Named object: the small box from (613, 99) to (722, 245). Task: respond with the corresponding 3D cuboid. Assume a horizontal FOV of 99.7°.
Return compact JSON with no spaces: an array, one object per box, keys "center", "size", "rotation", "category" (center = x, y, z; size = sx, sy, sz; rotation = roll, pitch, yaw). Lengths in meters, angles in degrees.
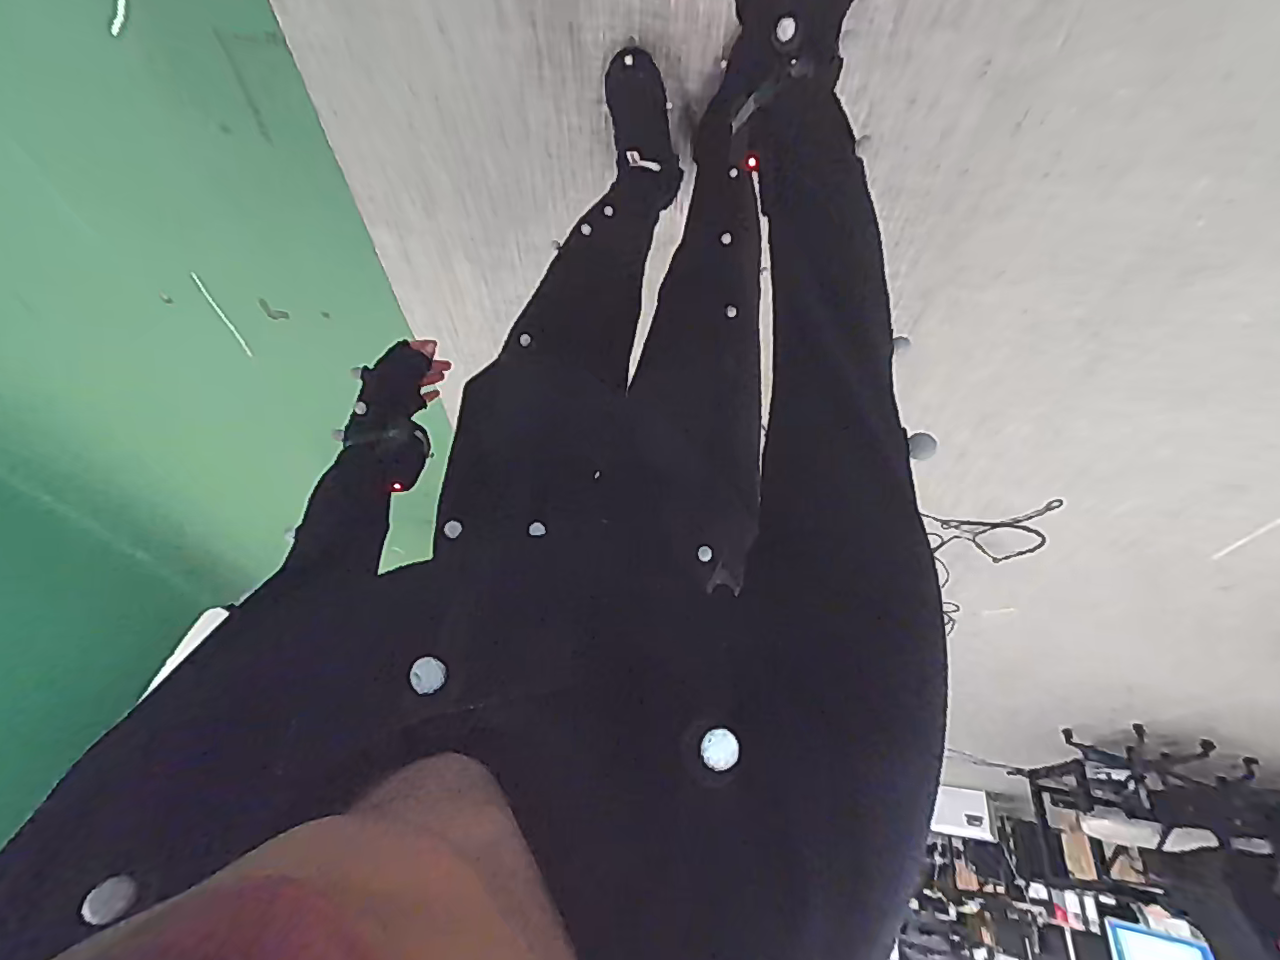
[{"center":[0.041,-0.576,1.021],"size":[0.168,0.176,0.179],"rotation":[-3,150,-10],"category":"small box"}]
